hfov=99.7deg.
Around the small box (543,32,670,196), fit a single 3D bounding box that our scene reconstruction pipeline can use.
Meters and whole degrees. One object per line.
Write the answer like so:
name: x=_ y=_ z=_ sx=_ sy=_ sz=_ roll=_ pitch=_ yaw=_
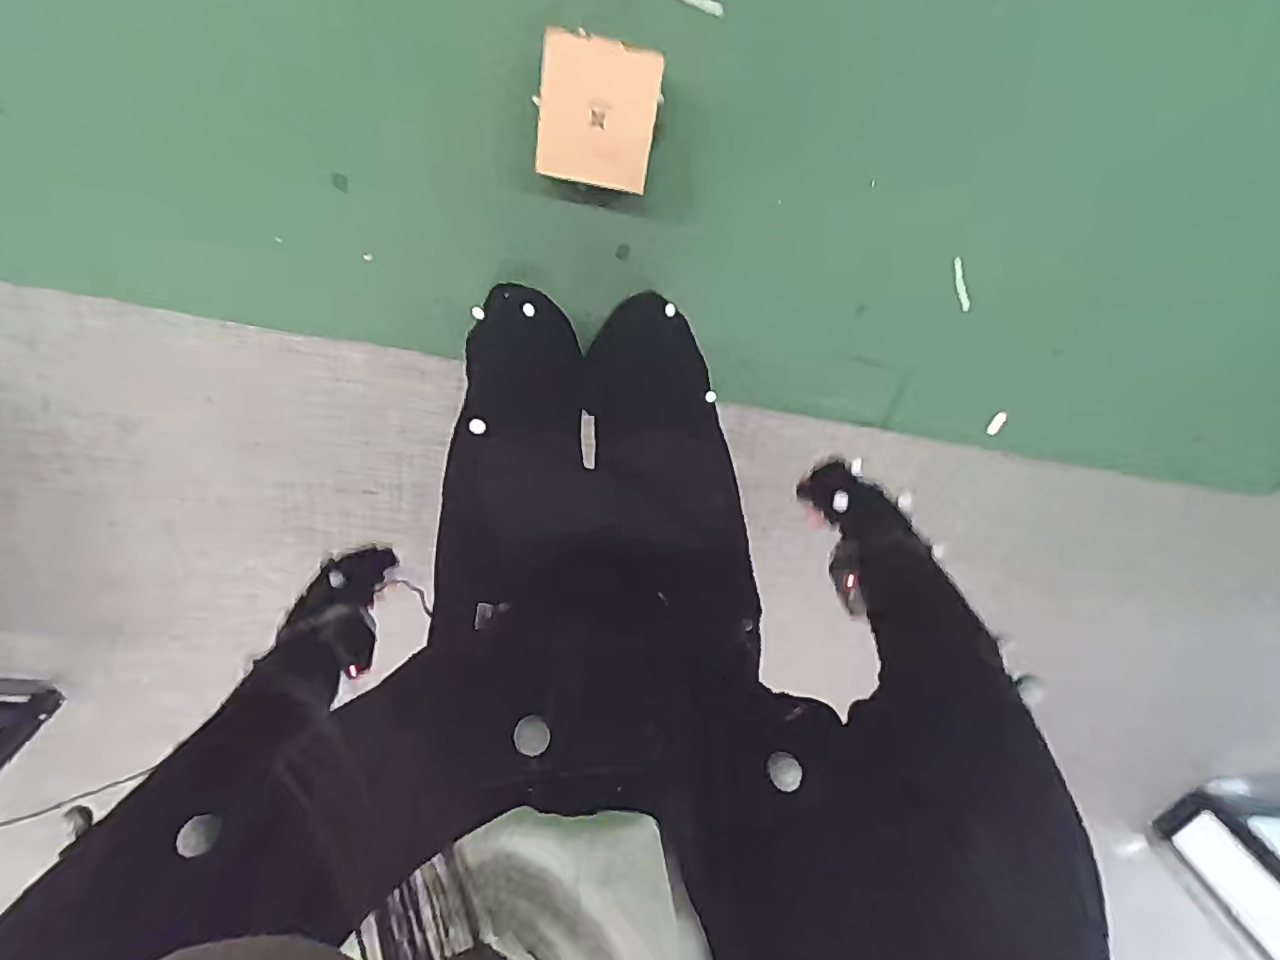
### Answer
small box: x=-0.058 y=-0.567 z=0.856 sx=0.168 sy=0.176 sz=0.179 roll=7 pitch=121 yaw=-8
